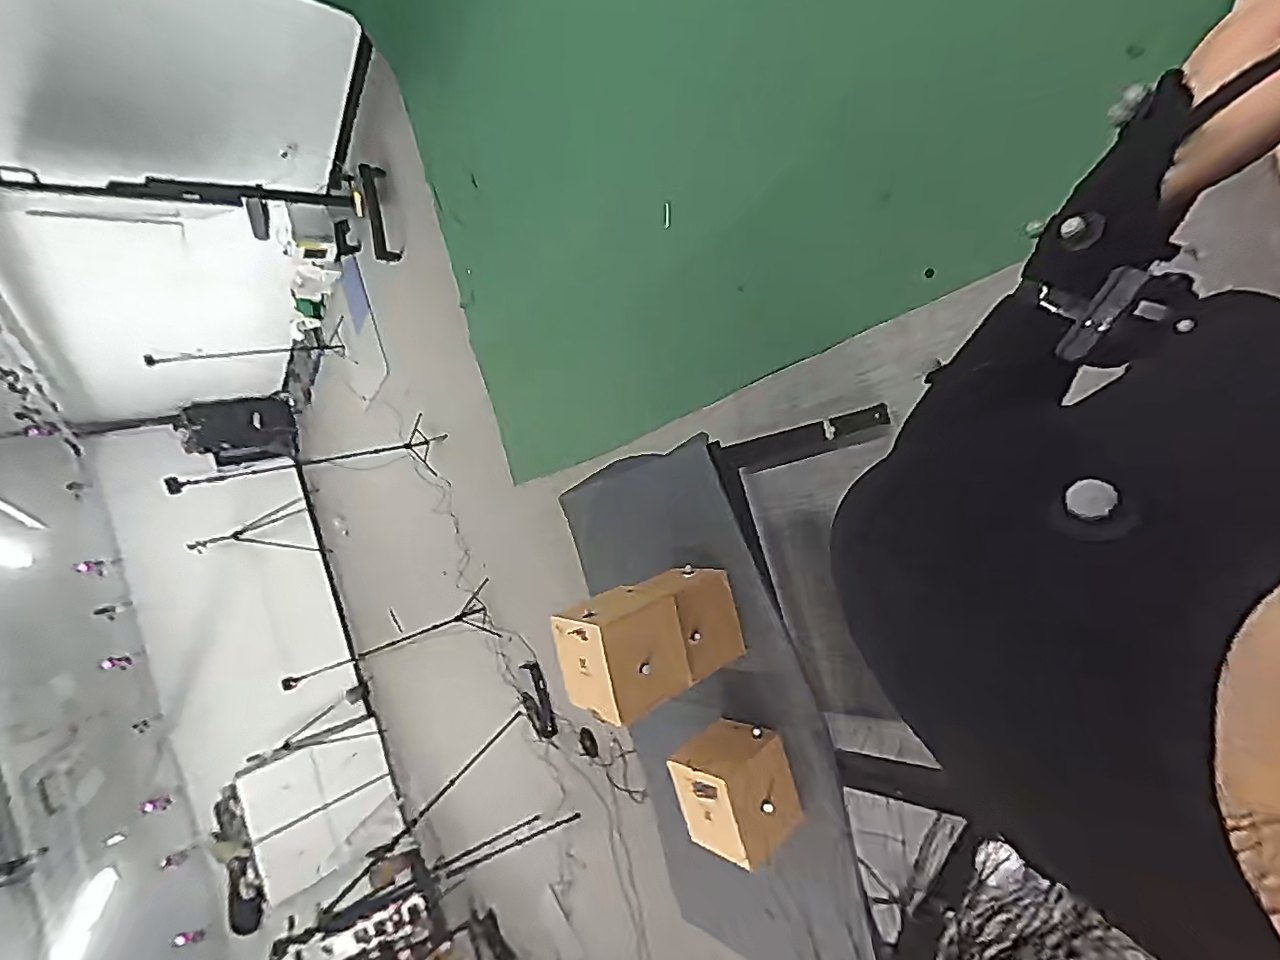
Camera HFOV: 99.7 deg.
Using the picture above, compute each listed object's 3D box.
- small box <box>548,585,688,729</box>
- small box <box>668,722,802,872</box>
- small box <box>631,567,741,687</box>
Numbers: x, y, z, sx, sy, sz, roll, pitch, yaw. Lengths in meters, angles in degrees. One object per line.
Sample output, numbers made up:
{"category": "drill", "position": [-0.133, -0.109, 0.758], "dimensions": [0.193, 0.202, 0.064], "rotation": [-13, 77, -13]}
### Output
{"category": "small box", "position": [-0.035, 0.304, 0.968], "dimensions": [0.168, 0.176, 0.179], "rotation": [-8, 97, 51]}
{"category": "small box", "position": [0.188, 0.605, 1.063], "dimensions": [0.168, 0.176, 0.179], "rotation": [-17, 91, 52]}
{"category": "small box", "position": [0.080, 0.284, 1.084], "dimensions": [0.168, 0.176, 0.179], "rotation": [-12, 92, 51]}
